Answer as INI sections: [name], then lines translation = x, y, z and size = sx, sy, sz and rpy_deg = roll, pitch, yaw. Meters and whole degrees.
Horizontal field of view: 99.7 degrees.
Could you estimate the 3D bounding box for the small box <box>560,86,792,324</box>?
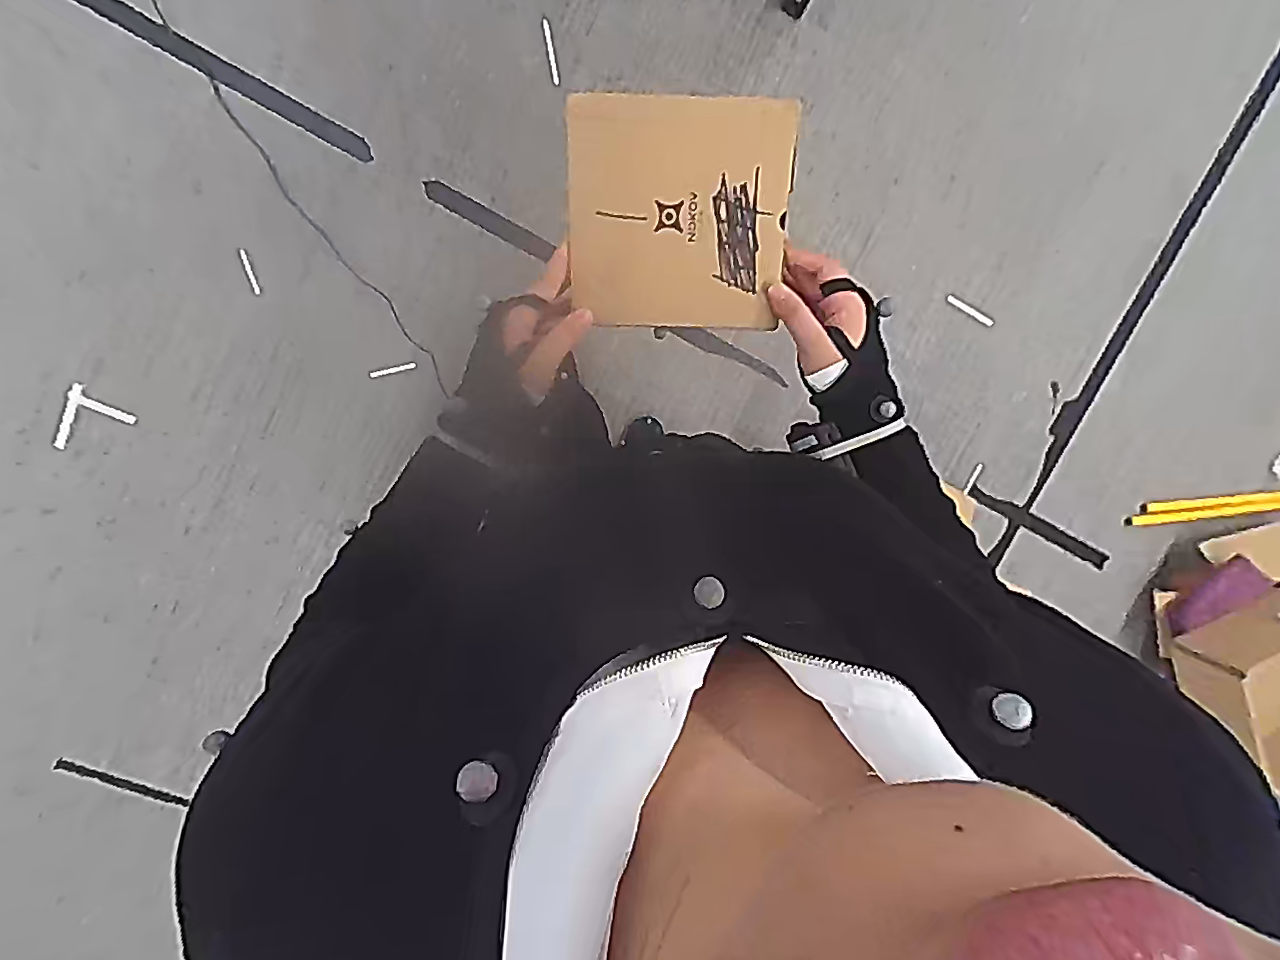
[small box]
translation = 0.023, -0.238, 0.500
size = 0.179, 0.176, 0.168
rpy_deg = 1, 110, -1
